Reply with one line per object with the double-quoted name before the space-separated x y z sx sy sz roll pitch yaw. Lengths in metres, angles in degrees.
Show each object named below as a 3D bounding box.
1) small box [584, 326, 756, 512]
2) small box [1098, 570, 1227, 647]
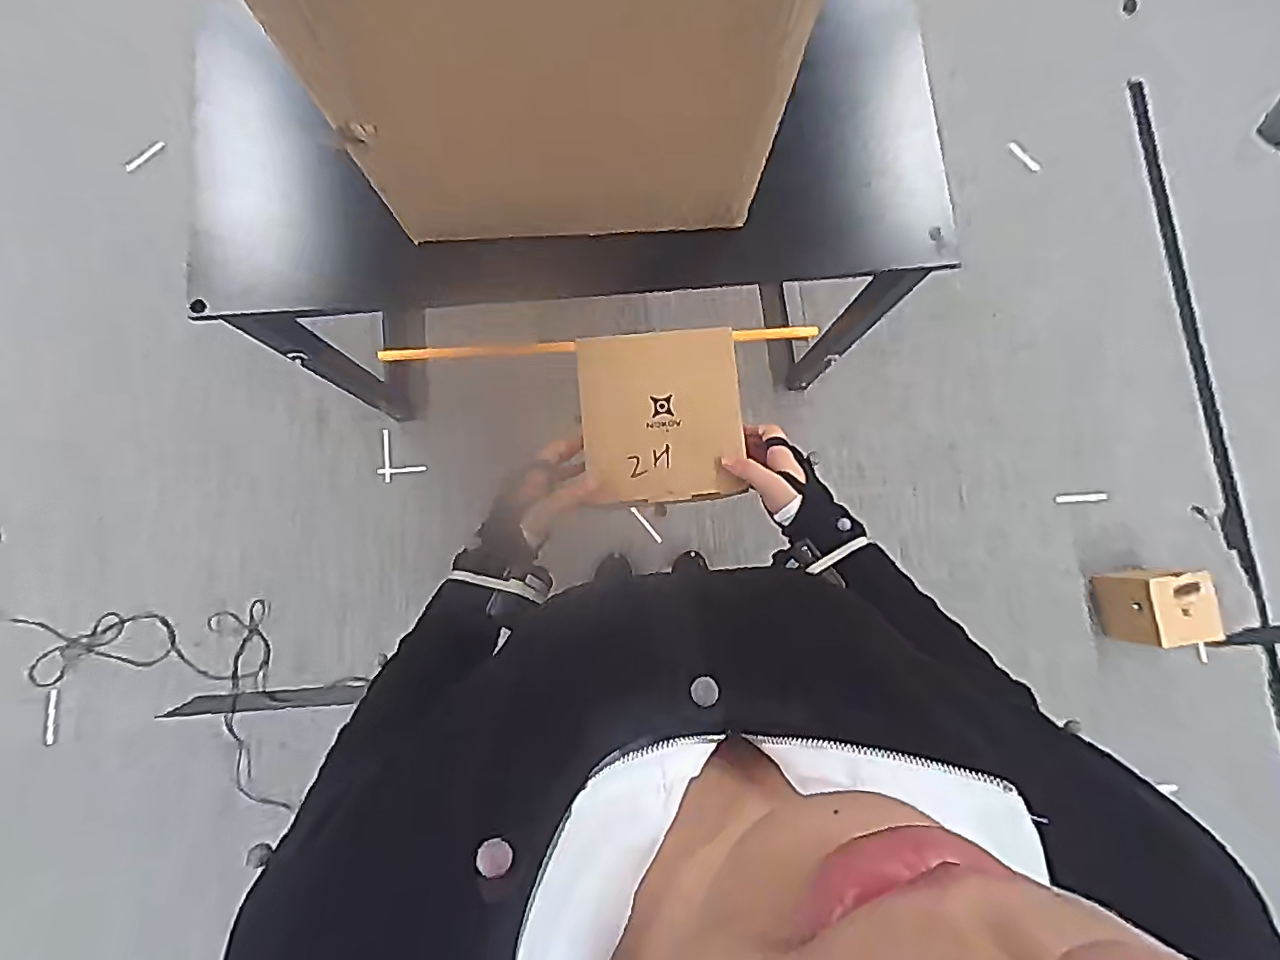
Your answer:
"small box" 0.025 -0.059 0.622 0.168 0.176 0.179 -5 85 -2
"small box" 1.378 0.334 1.440 0.168 0.176 0.179 -7 83 -2
